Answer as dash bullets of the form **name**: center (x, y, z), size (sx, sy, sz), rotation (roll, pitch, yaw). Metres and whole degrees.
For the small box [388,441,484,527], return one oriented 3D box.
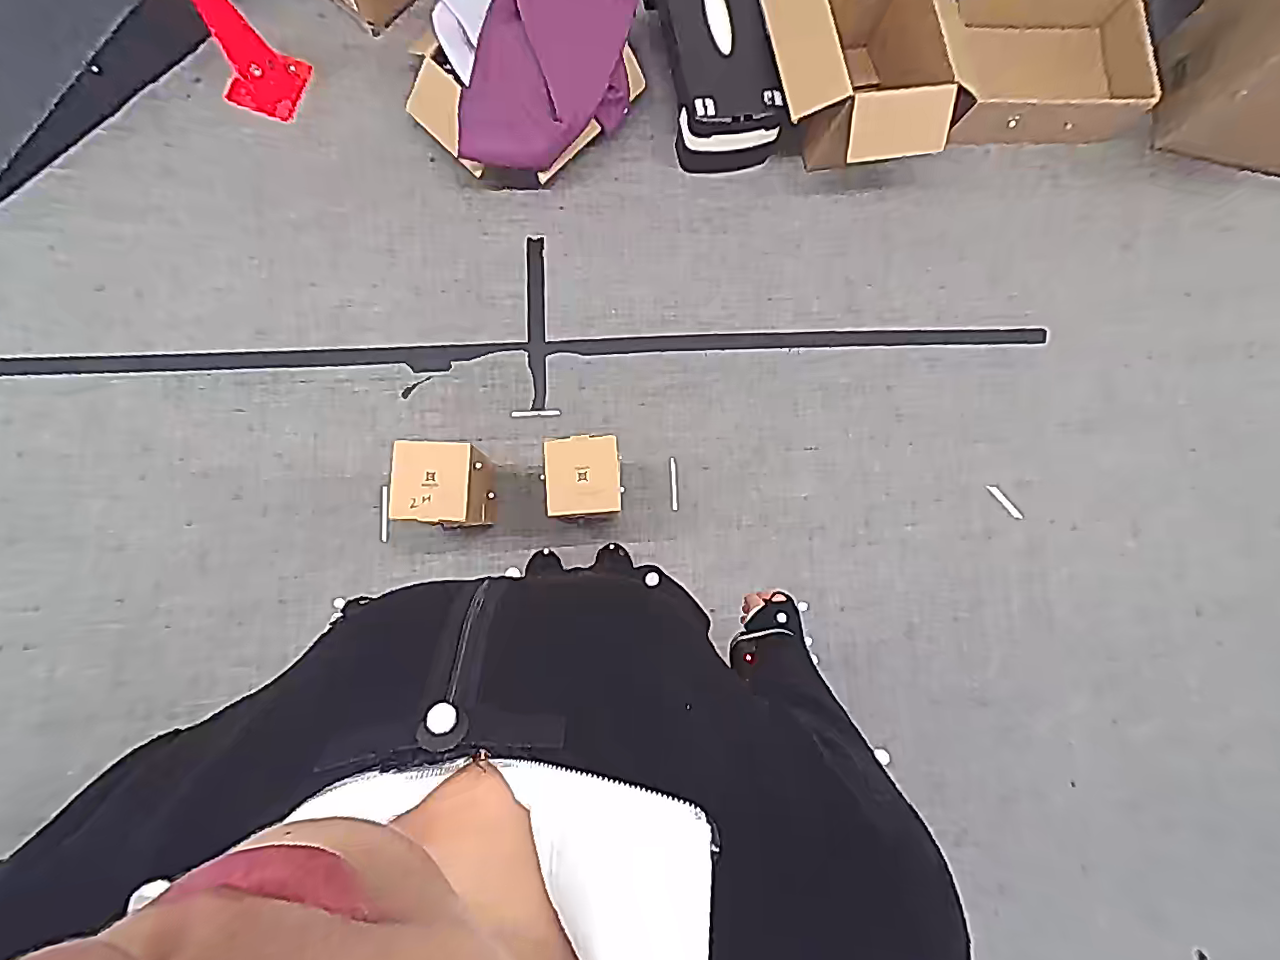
- **small box**: center (-0.463, 0.015, 1.255), size (0.168, 0.176, 0.179), rotation (2, 83, -4)

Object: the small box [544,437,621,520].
- **small box**: center (-0.136, 0.001, 1.292), size (0.168, 0.176, 0.179), rotation (-4, 85, -4)

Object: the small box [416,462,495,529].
- **small box**: center (-0.479, 0.038, 1.418), size (0.168, 0.176, 0.179), rotation (-3, 84, -5)
